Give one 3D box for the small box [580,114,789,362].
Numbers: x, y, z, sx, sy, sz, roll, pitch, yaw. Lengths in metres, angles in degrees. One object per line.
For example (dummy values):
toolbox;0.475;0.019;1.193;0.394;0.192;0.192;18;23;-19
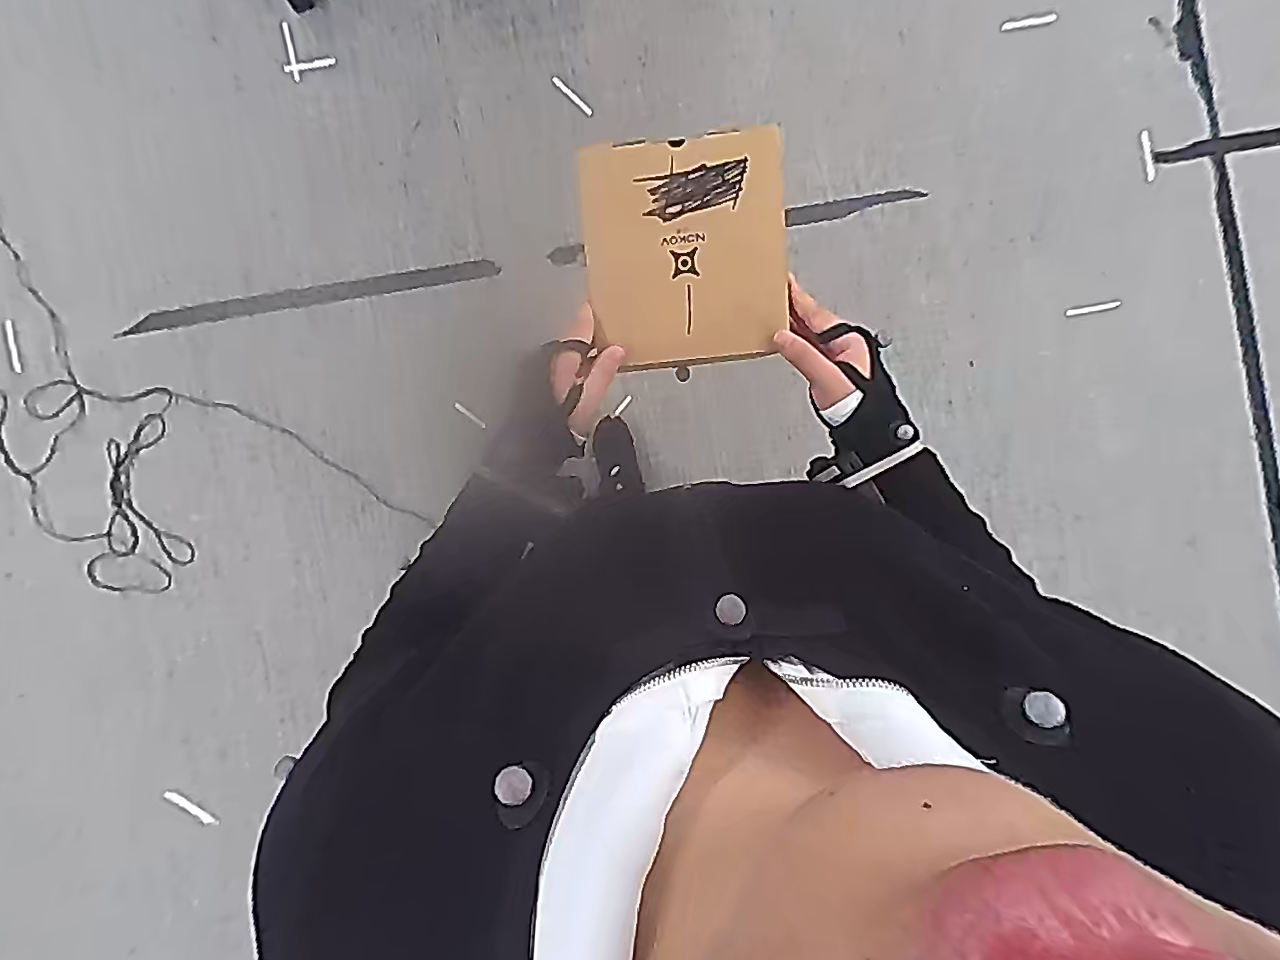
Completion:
small box;0.041;-0.212;0.523;0.168;0.176;0.179;-5;100;4
